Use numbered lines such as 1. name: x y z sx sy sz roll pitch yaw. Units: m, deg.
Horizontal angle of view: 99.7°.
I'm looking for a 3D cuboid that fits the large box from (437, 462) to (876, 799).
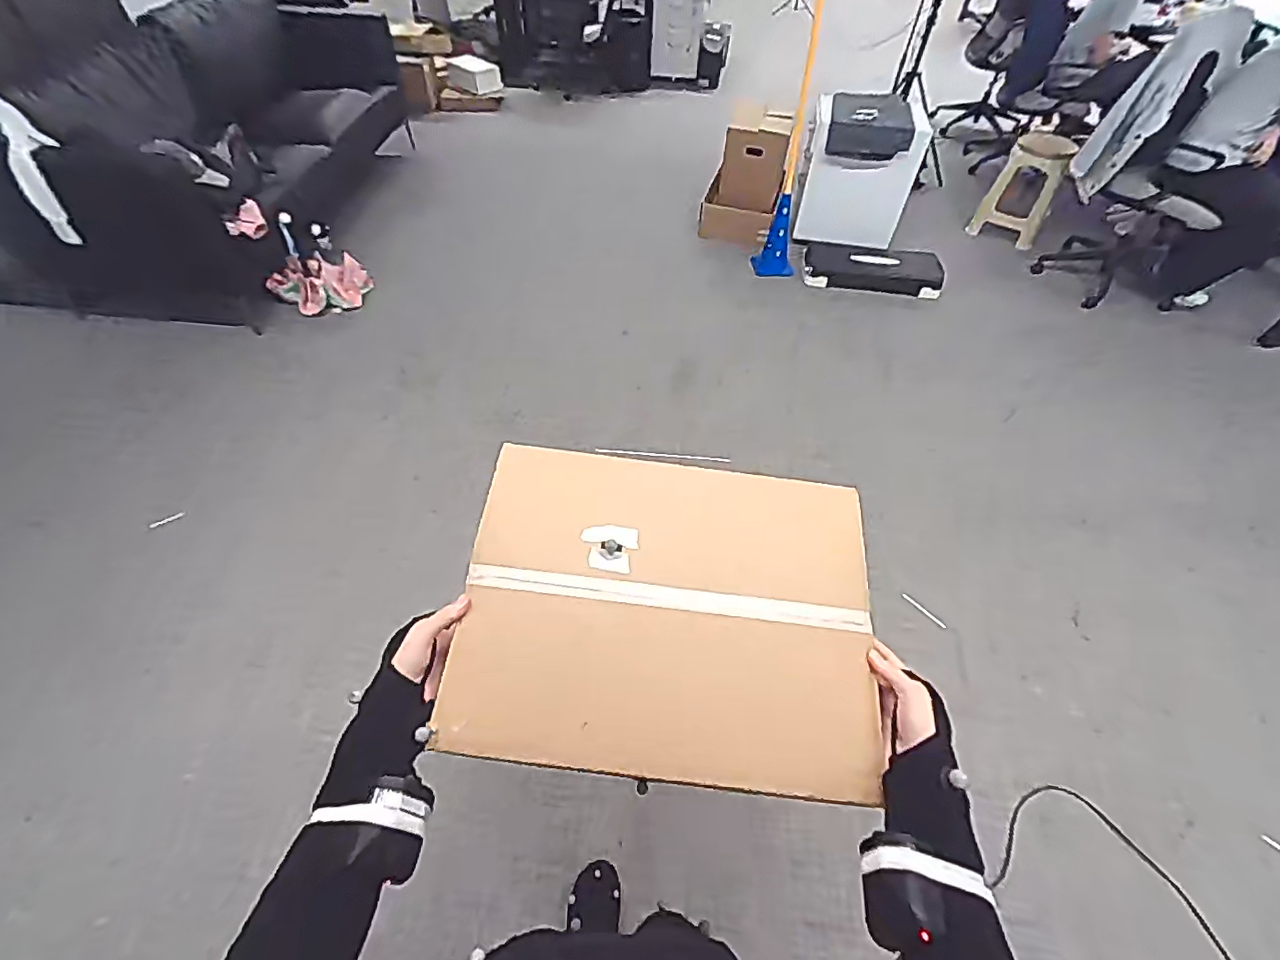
1. large box: 0.022 0.202 0.683 0.408 0.320 0.320 7 60 0
